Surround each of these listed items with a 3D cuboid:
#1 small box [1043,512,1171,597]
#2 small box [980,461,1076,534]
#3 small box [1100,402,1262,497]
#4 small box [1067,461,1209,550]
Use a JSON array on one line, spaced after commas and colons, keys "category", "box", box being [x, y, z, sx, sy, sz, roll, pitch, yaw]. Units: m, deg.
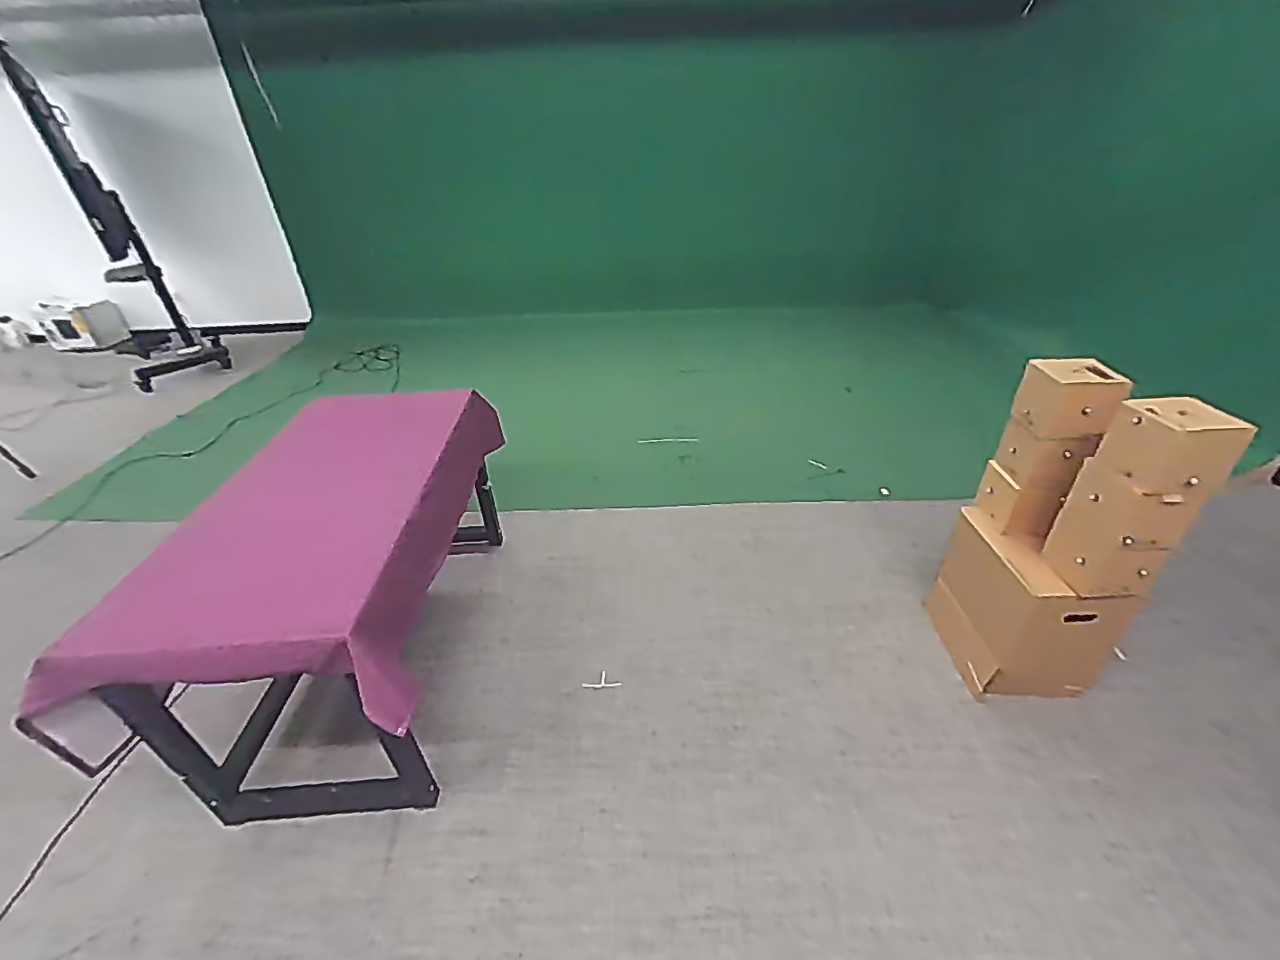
[{"category": "small box", "box": [1.243, 0.200, 1.455, 0.168, 0.176, 0.179, -1, 32, 0]}, {"category": "small box", "box": [1.189, 0.055, 1.675, 0.179, 0.176, 0.168, 0, 35, 2]}, {"category": "small box", "box": [1.250, -0.070, 1.268, 0.179, 0.176, 0.168, -1, 32, -1]}, {"category": "small box", "box": [1.240, 0.064, 1.364, 0.168, 0.176, 0.179, 0, 32, 1]}]
